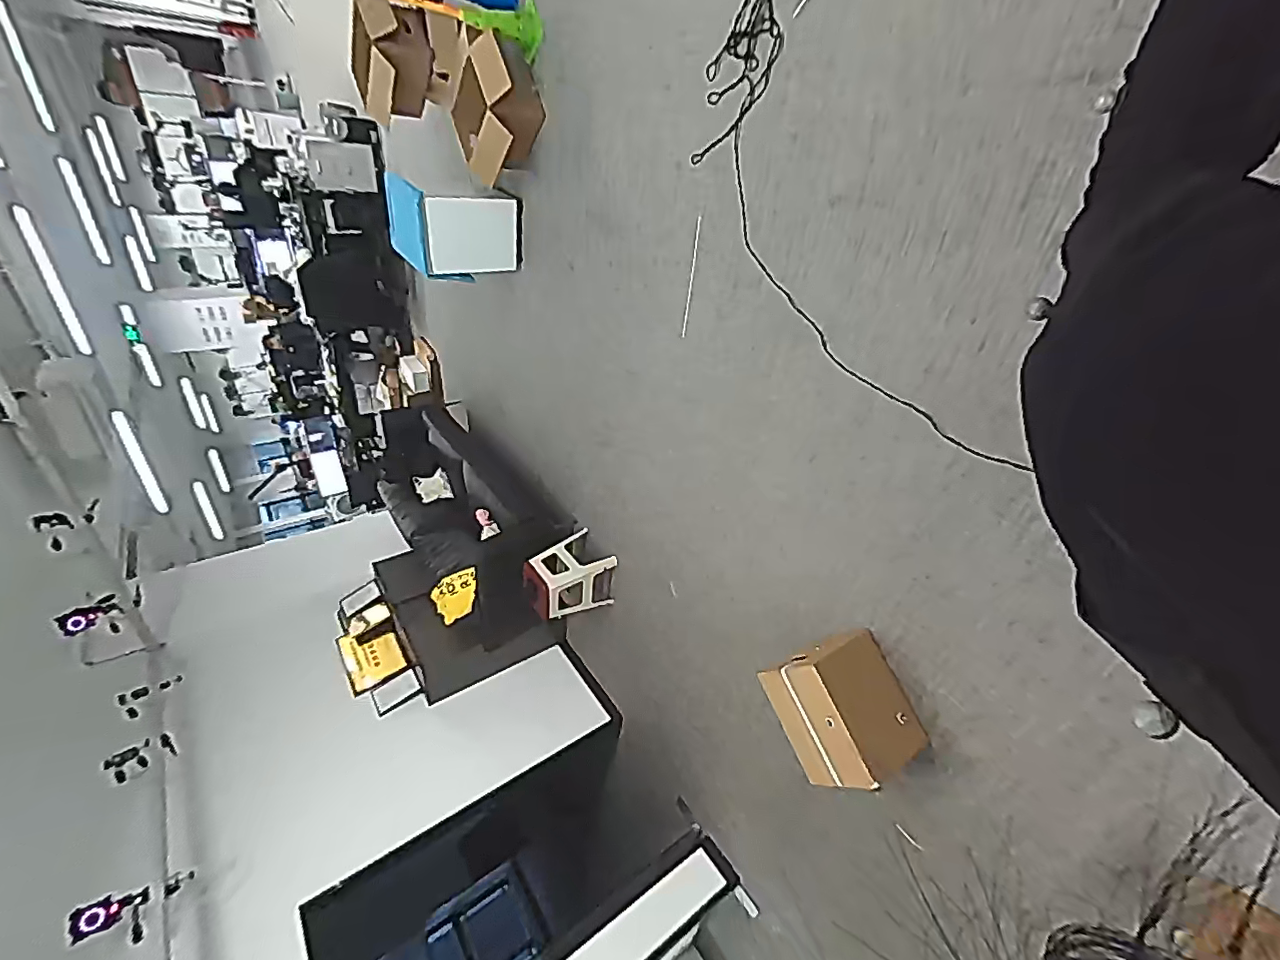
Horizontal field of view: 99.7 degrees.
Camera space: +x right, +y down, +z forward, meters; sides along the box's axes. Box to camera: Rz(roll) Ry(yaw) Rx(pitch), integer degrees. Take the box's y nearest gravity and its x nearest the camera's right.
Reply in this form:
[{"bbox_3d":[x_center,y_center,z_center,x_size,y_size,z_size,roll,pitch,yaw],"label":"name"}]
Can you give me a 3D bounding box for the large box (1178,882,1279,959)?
[{"bbox_3d":[1.370,1.163,1.093,0.408,0.320,0.320,25,125,48],"label":"large box"}]
